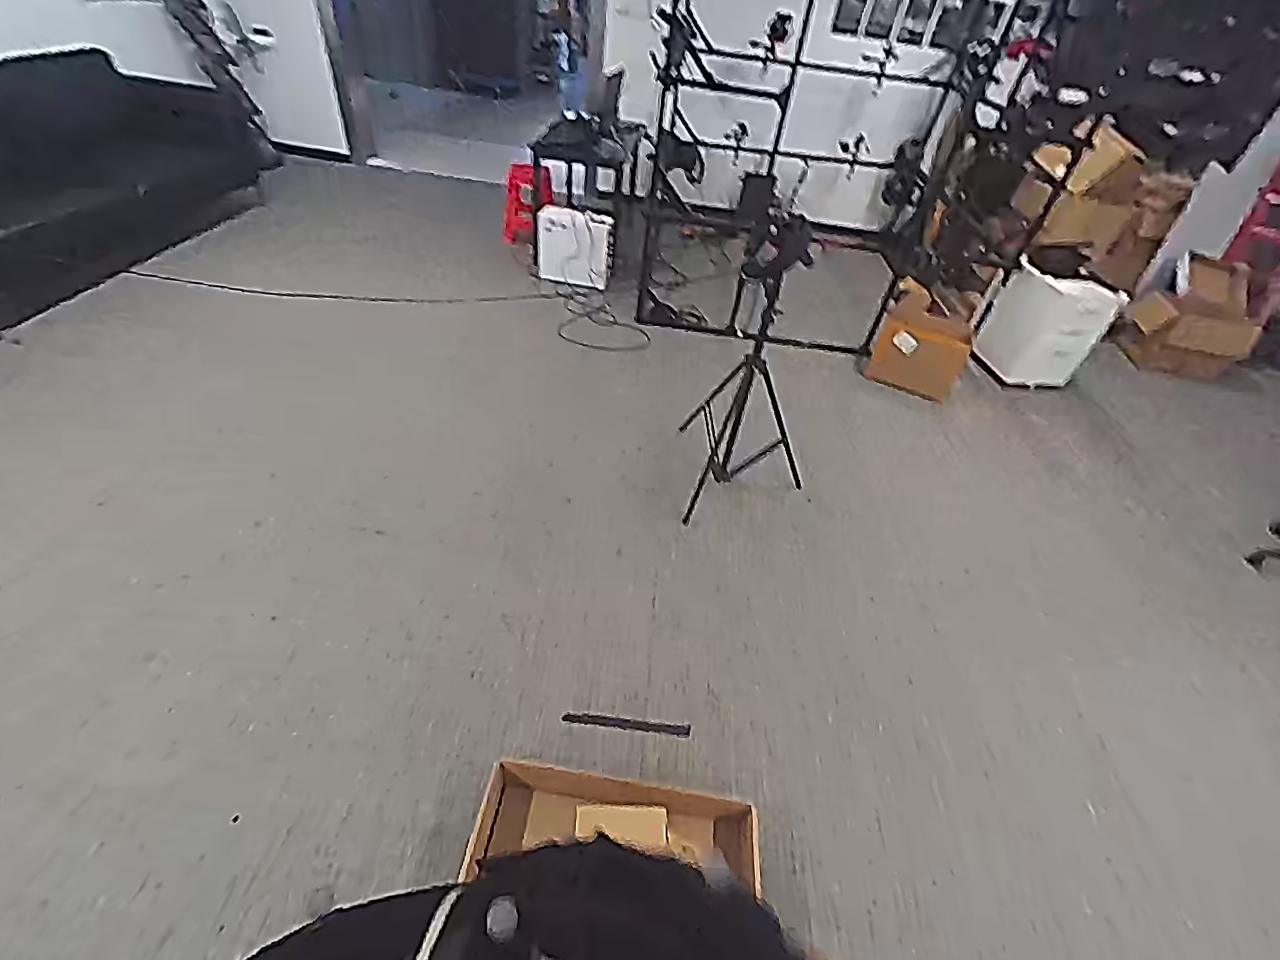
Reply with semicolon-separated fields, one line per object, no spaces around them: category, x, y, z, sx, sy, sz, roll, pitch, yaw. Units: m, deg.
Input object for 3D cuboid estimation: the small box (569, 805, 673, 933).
small box;-0.040;0.739;1.028;0.179;0.176;0.168;3;41;-5
